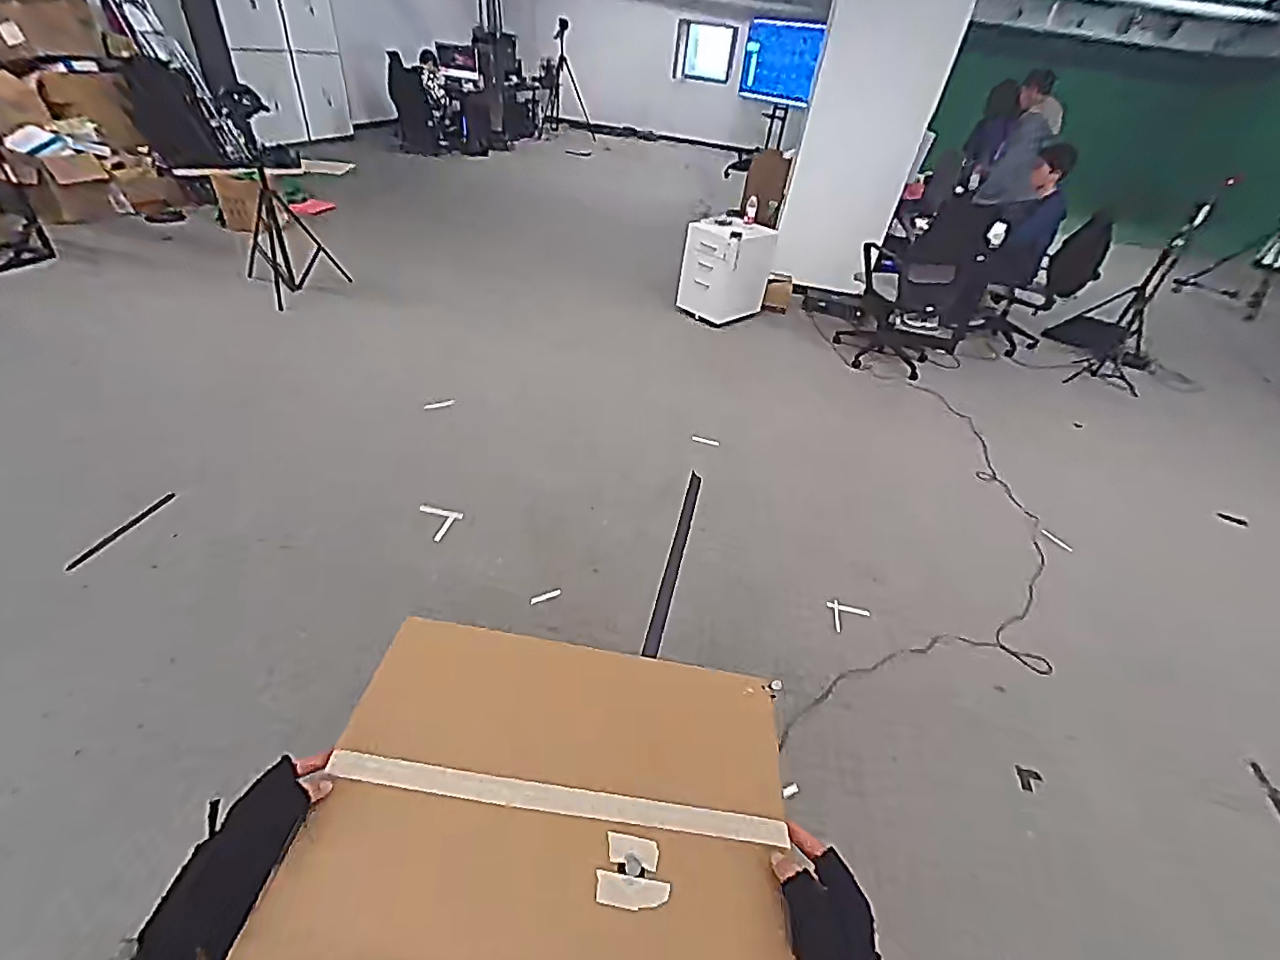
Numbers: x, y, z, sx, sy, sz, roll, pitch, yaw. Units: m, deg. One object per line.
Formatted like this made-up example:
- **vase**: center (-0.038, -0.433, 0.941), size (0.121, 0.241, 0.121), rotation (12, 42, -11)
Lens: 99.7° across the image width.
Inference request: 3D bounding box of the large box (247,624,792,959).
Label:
- **large box**: center (-0.094, 0.399, 0.575), size (0.408, 0.320, 0.320), rotation (11, 39, -2)
